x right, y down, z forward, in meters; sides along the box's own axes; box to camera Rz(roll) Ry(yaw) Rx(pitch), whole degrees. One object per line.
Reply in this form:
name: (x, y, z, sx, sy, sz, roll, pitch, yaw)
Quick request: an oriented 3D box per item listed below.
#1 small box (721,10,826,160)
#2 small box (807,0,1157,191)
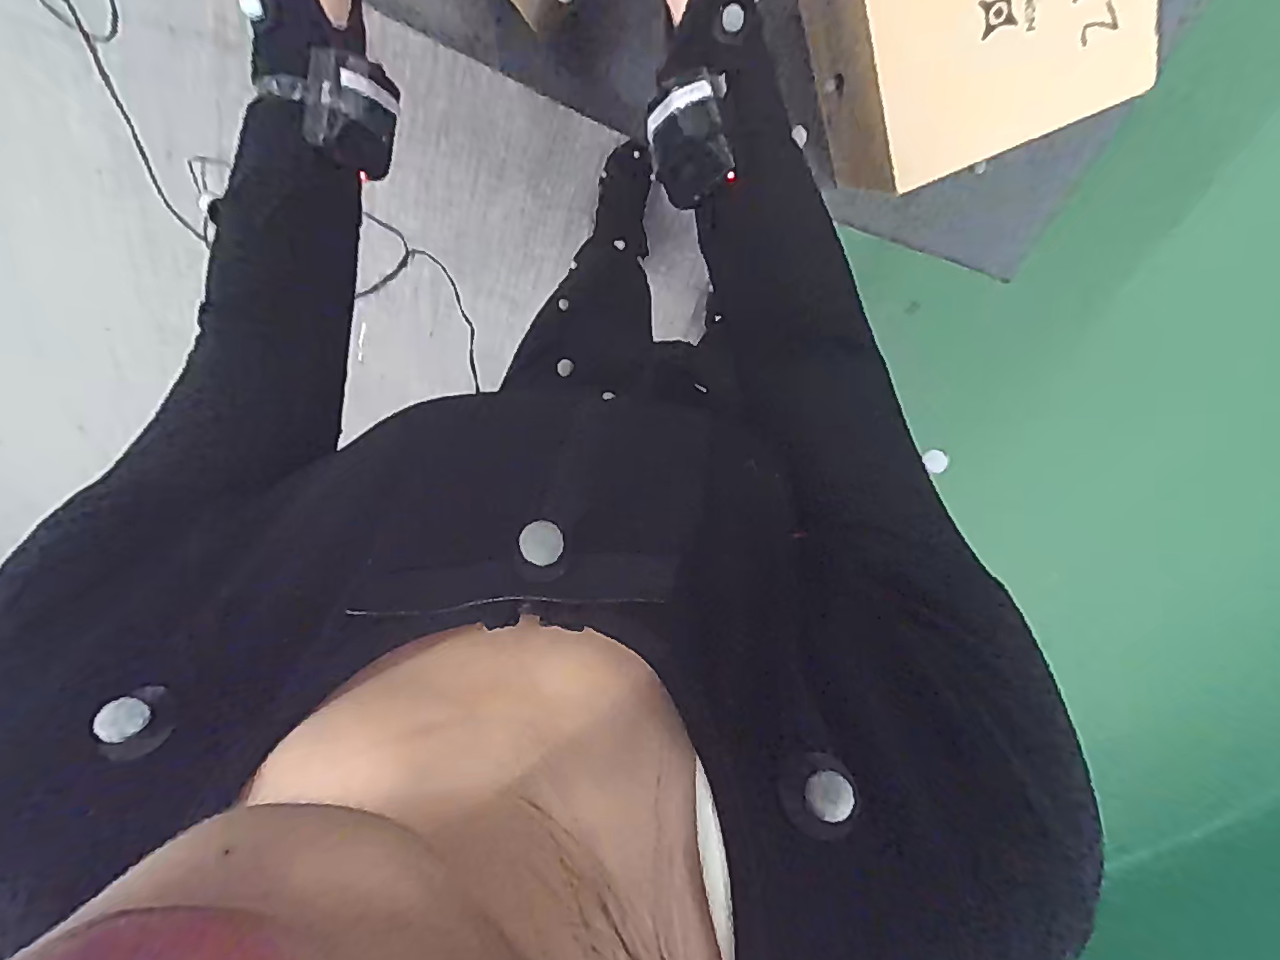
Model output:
small box: (0.272, -0.741, 1.033, 0.179, 0.176, 0.168, 23, 121, -14)
small box: (0.241, -0.344, 0.419, 0.179, 0.176, 0.168, -18, 118, 13)
